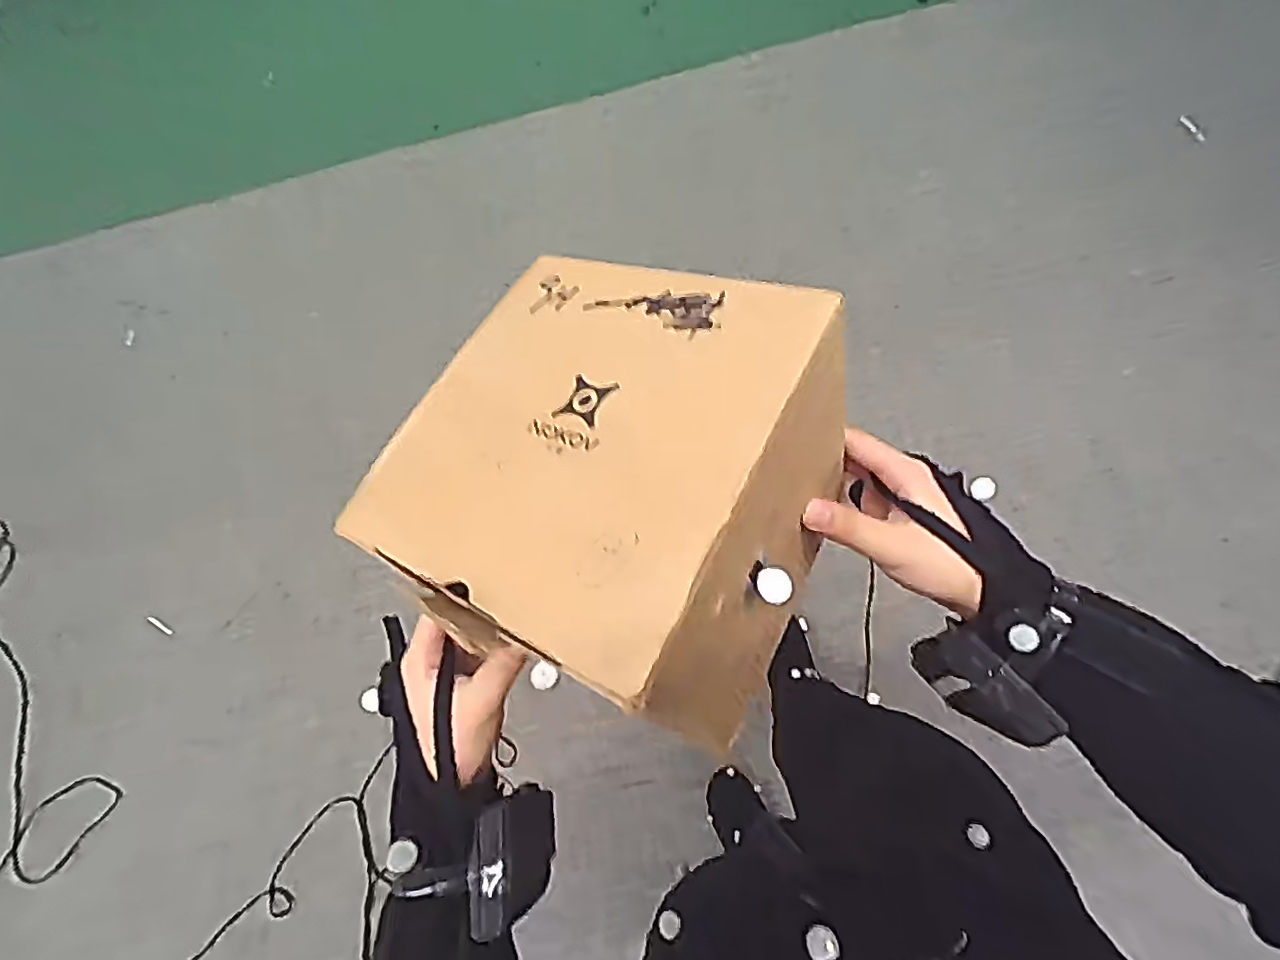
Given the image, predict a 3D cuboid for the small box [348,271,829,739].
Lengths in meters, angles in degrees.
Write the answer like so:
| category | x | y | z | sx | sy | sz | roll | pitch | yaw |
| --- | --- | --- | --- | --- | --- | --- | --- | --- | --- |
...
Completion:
| category | x | y | z | sx | sy | sz | roll | pitch | yaw |
| --- | --- | --- | --- | --- | --- | --- | --- | --- | --- |
| small box | -0.003 | 0.018 | 0.298 | 0.168 | 0.176 | 0.179 | 20 | 70 | 29 |
